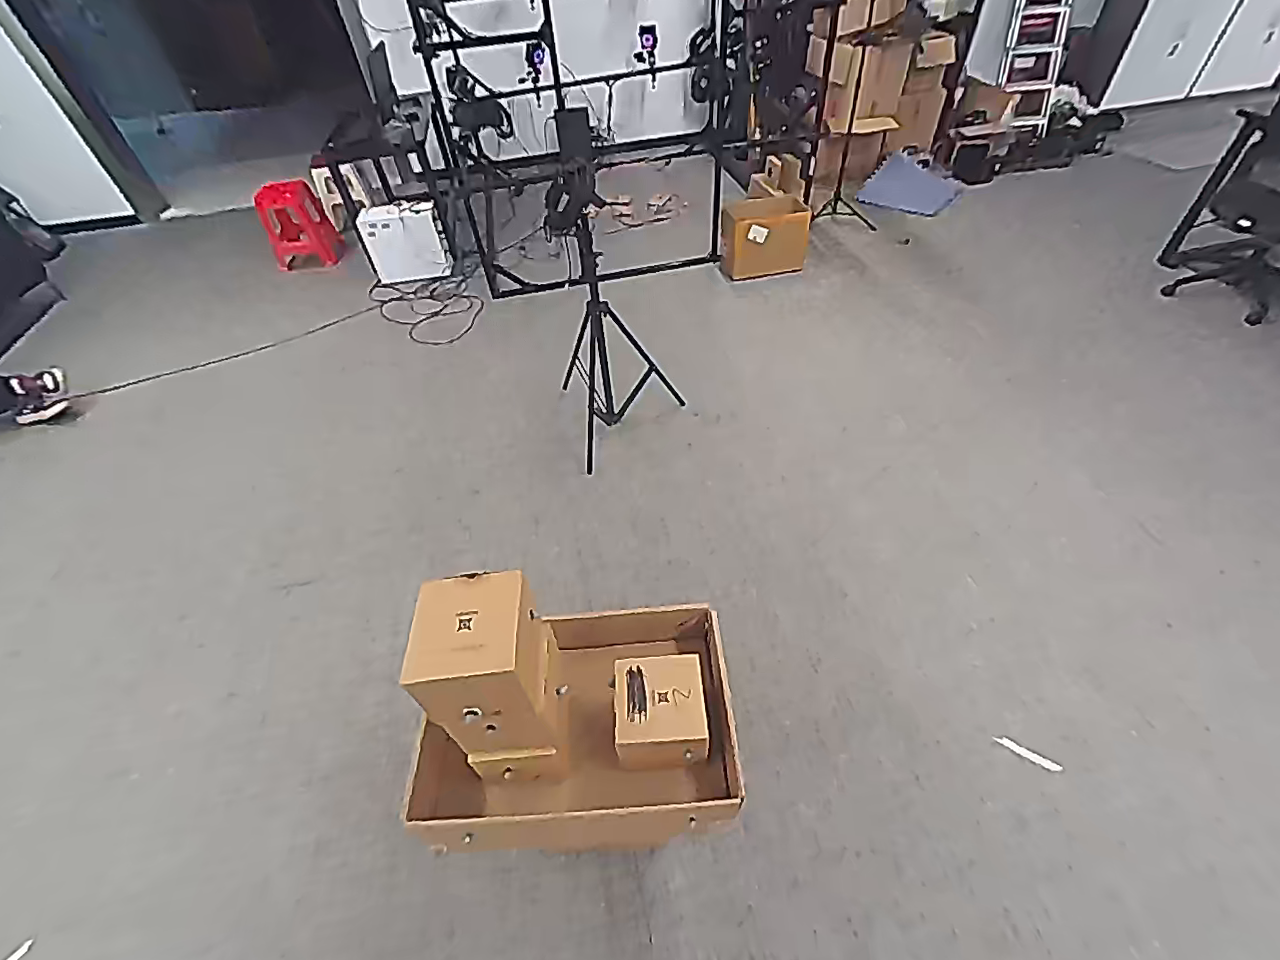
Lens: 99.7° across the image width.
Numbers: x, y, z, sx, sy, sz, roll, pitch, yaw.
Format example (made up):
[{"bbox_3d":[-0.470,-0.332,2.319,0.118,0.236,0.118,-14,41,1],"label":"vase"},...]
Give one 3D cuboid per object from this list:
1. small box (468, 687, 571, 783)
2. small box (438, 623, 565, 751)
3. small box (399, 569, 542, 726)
[{"bbox_3d":[-0.234,0.500,1.099,0.168,0.176,0.179,-5,46,-1],"label":"small box"},{"bbox_3d":[-0.241,0.380,0.985,0.179,0.176,0.168,-4,46,0],"label":"small box"},{"bbox_3d":[-0.256,0.268,0.867,0.168,0.176,0.179,-7,45,0],"label":"small box"}]
